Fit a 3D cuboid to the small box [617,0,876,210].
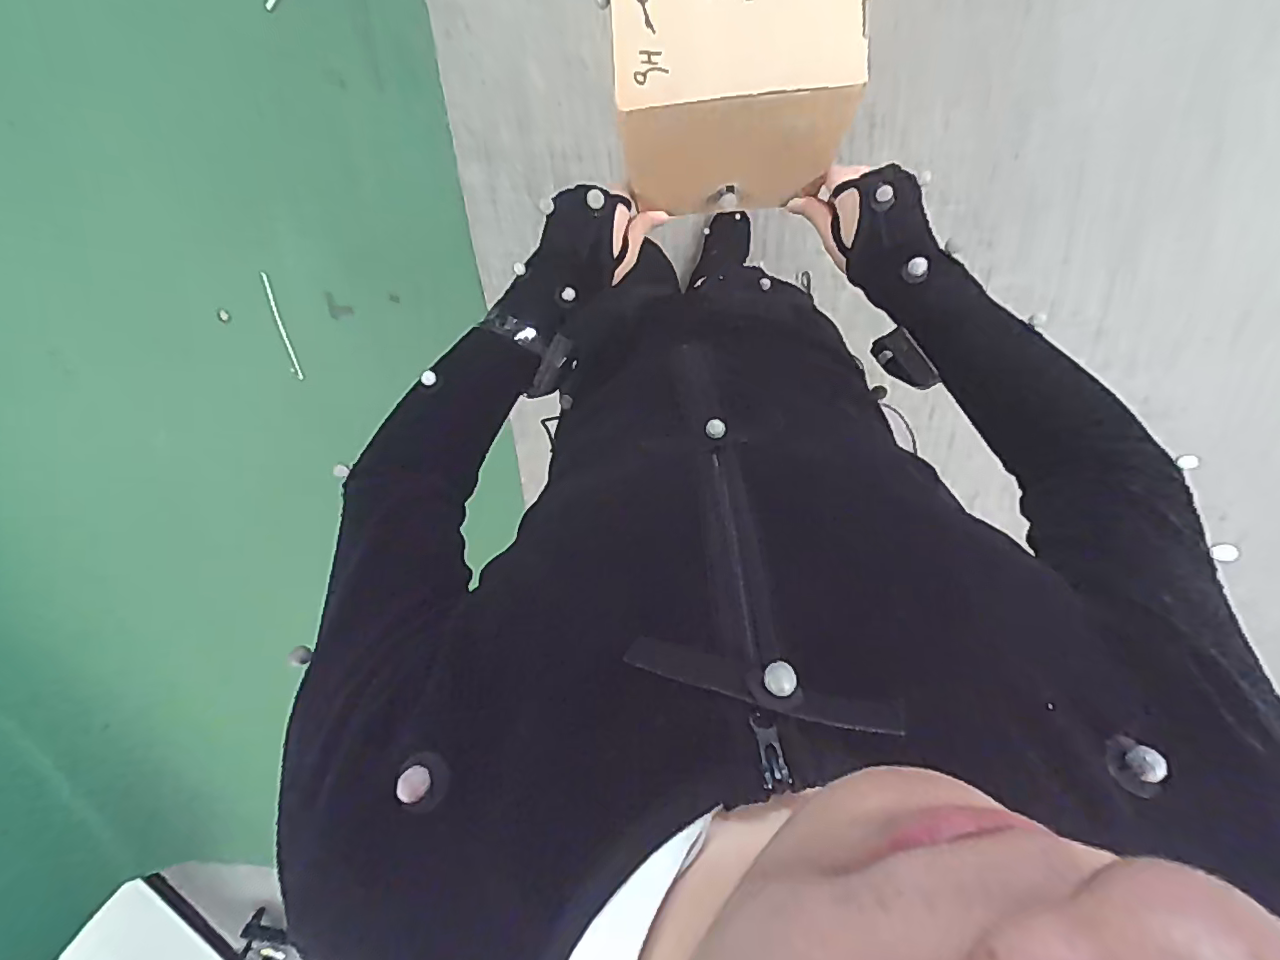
[{"bbox_3d":[0.075,-0.347,0.447,0.179,0.176,0.168,-2,90,5],"label":"small box"}]
